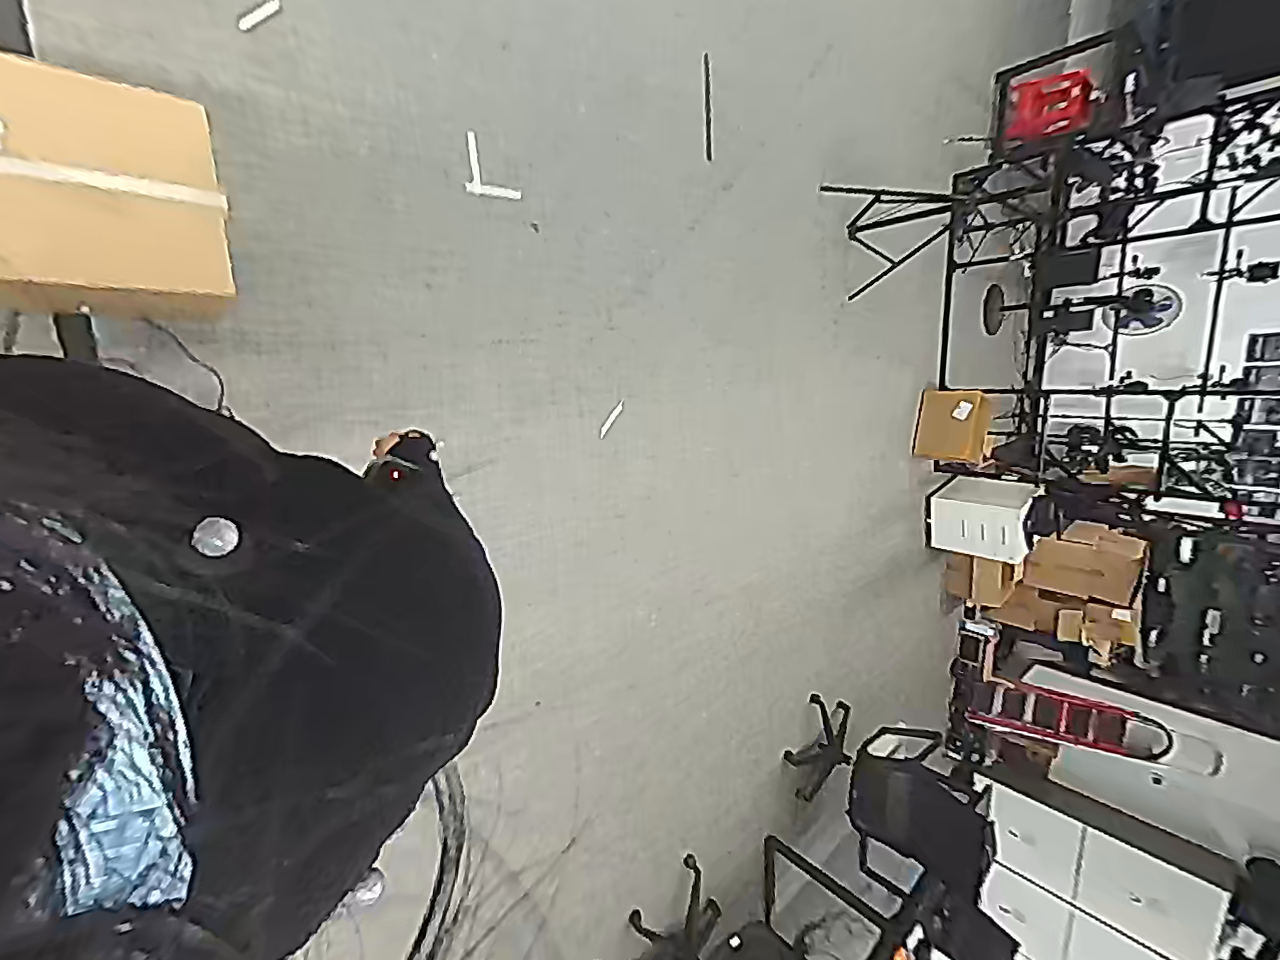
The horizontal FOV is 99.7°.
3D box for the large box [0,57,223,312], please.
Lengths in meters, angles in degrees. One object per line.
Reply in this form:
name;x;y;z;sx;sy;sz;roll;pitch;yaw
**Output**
large box;-0.990;-0.465;0.908;0.408;0.320;0.320;-11;101;-42
